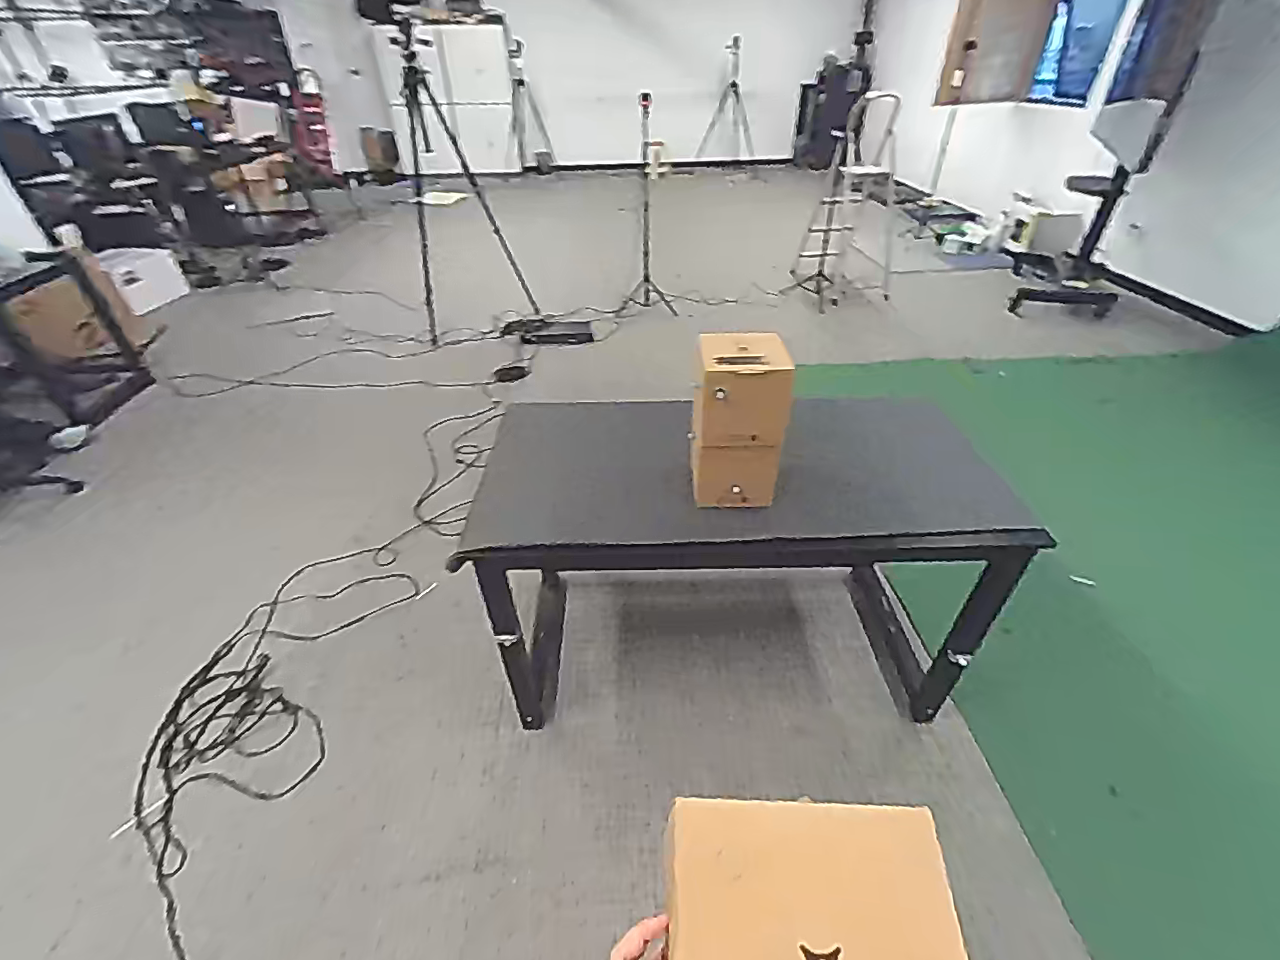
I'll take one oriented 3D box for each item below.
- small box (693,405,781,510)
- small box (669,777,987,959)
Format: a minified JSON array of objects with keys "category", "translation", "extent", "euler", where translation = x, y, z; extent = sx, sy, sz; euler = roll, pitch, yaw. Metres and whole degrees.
[{"category":"small box","translation":[0.206,-0.053,1.200],"extent":[0.168,0.176,0.179],"euler":[-1,37,1]},{"category":"small box","translation":[0.104,0.312,0.348],"extent":[0.168,0.176,0.179],"euler":[2,50,2]}]
